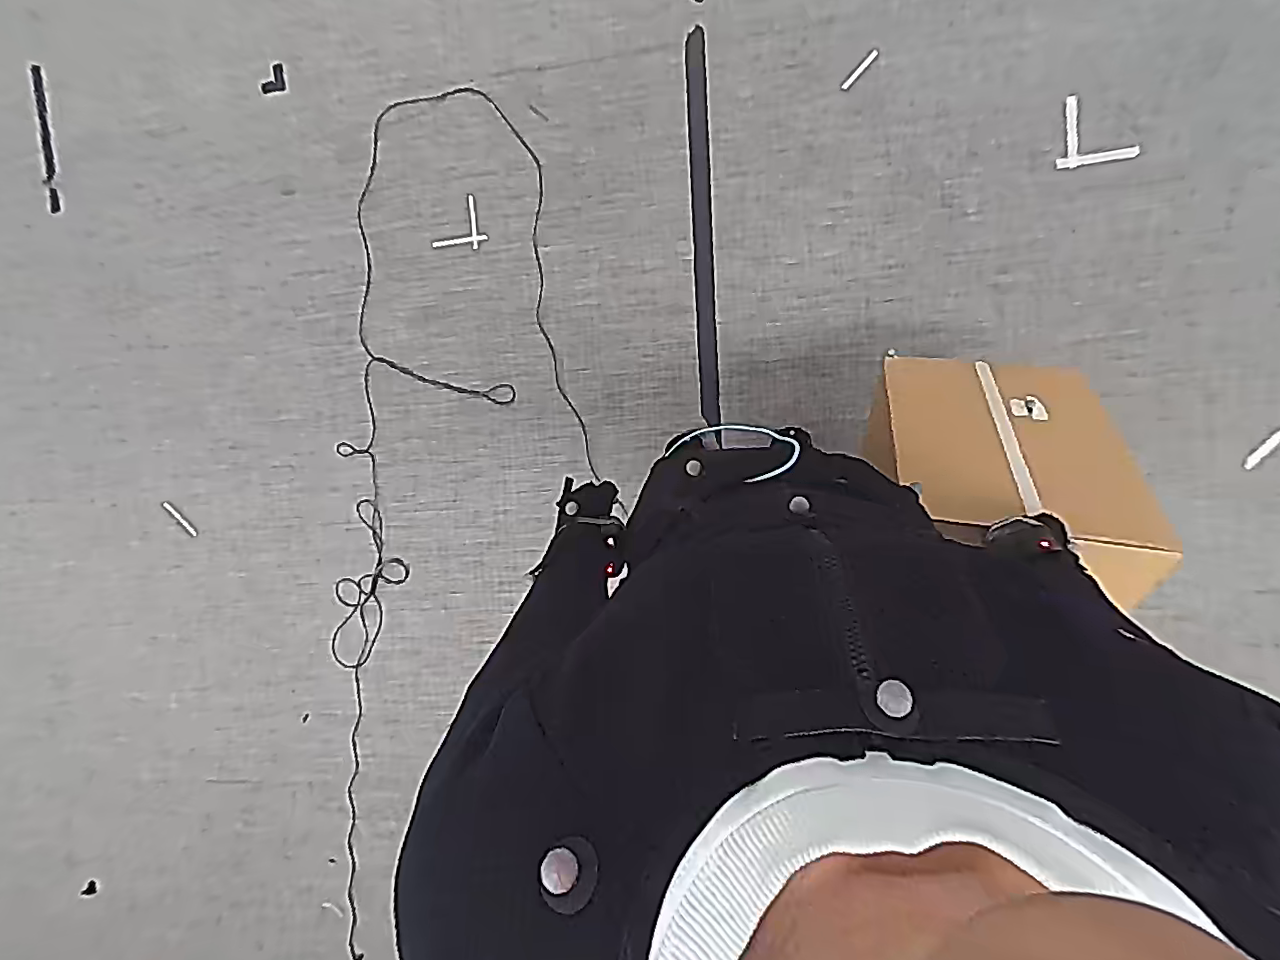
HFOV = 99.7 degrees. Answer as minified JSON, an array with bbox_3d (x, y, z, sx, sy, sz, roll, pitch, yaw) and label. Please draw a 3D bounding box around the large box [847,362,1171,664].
[{"bbox_3d":[0.550,0.042,0.924,0.320,0.408,0.320,7,134,11],"label":"large box"}]
